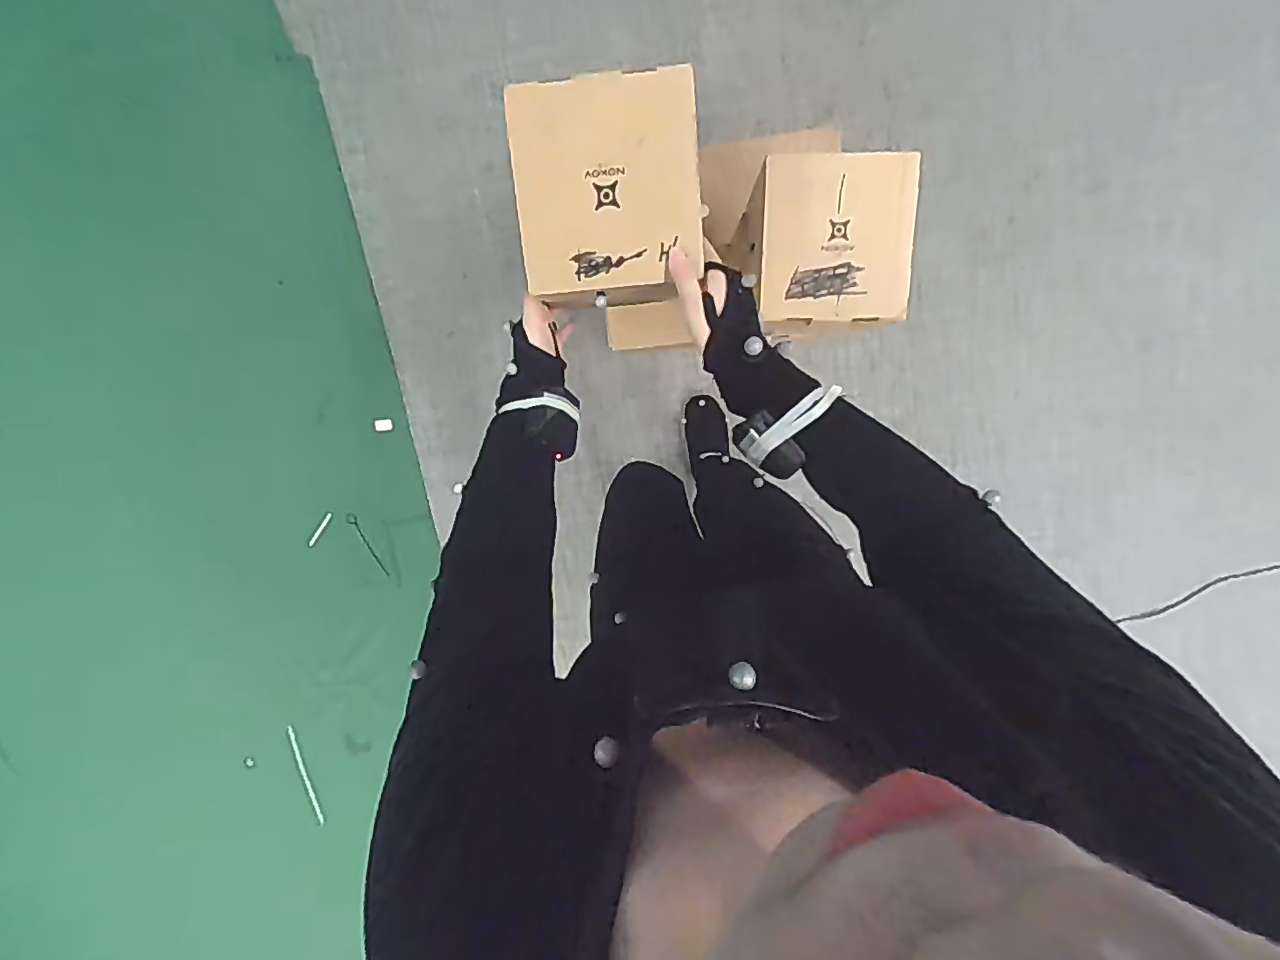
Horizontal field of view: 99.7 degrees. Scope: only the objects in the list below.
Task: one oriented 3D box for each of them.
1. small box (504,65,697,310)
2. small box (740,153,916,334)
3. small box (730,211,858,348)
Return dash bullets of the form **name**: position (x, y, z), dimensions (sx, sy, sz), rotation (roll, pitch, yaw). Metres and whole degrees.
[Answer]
- **small box**: position (-0.030, -0.282, 0.562), dimensions (0.168, 0.176, 0.179), rotation (-3, 101, 4)
- **small box**: position (0.219, -0.278, 0.674), dimensions (0.168, 0.176, 0.179), rotation (1, 99, 4)
- **small box**: position (0.231, -0.305, 0.837), dimensions (0.168, 0.176, 0.179), rotation (-3, 100, 5)
